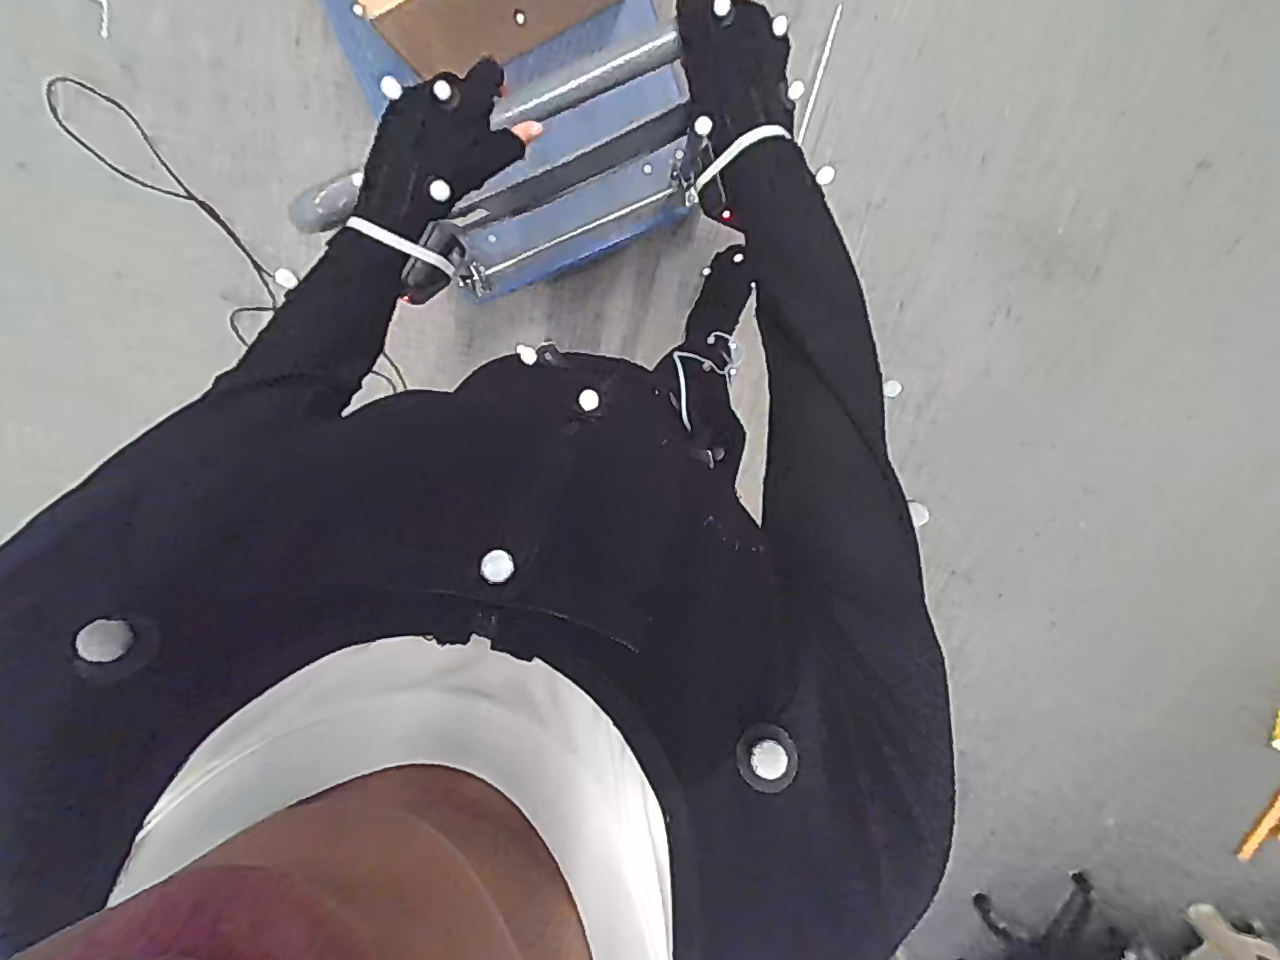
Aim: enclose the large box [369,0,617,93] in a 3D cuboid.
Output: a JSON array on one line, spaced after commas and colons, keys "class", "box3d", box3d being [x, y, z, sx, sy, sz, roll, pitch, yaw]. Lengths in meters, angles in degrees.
[{"class": "large box", "box3d": [-0.258, -0.915, 0.854, 0.408, 0.320, 0.320, -23, 106, 7]}]
